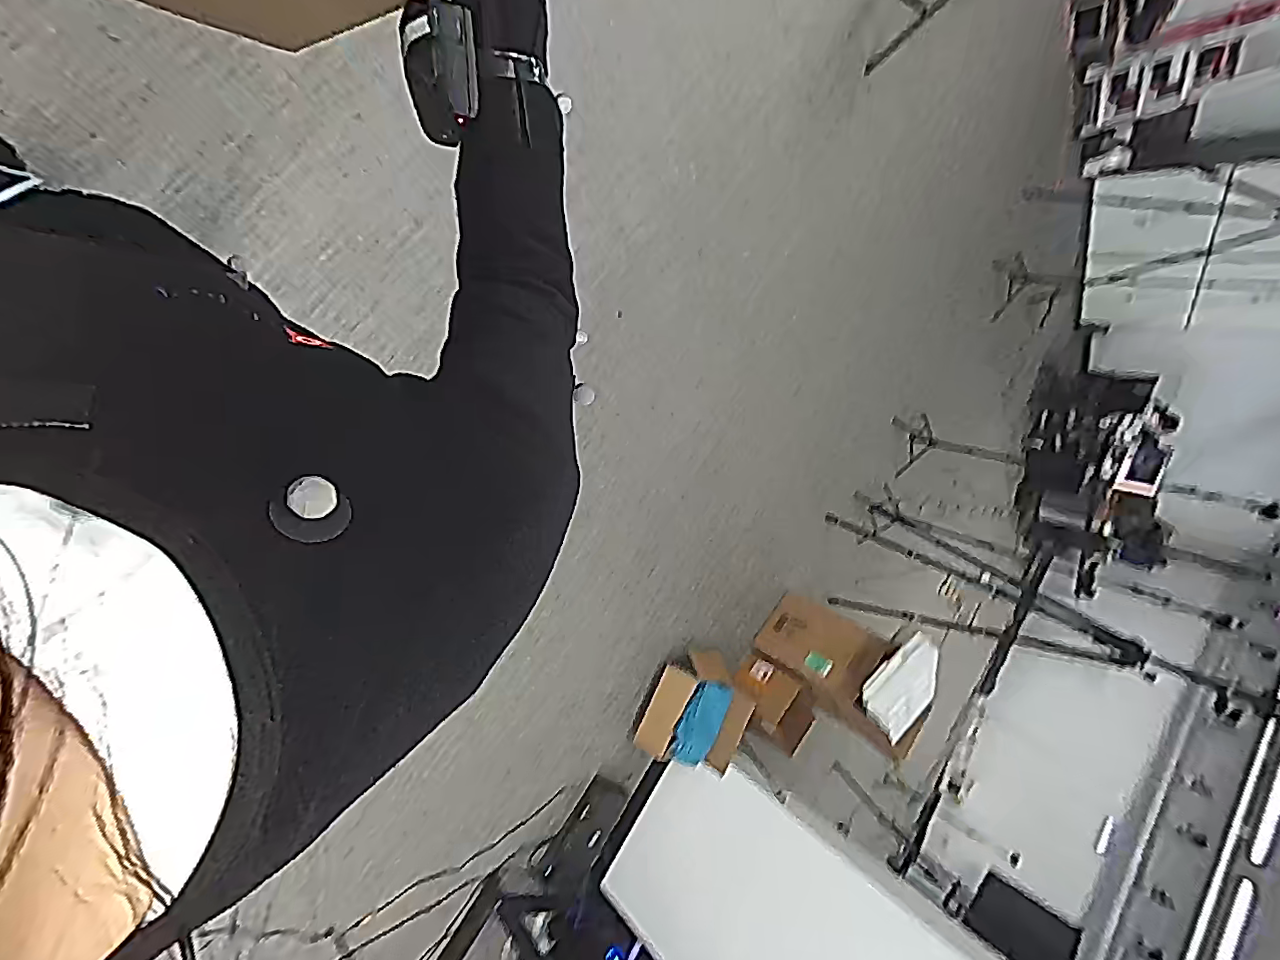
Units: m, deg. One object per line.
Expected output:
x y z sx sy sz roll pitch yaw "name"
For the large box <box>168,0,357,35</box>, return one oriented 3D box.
-0.357 -0.461 0.227 0.408 0.320 0.320 -13 124 -42 "large box"
